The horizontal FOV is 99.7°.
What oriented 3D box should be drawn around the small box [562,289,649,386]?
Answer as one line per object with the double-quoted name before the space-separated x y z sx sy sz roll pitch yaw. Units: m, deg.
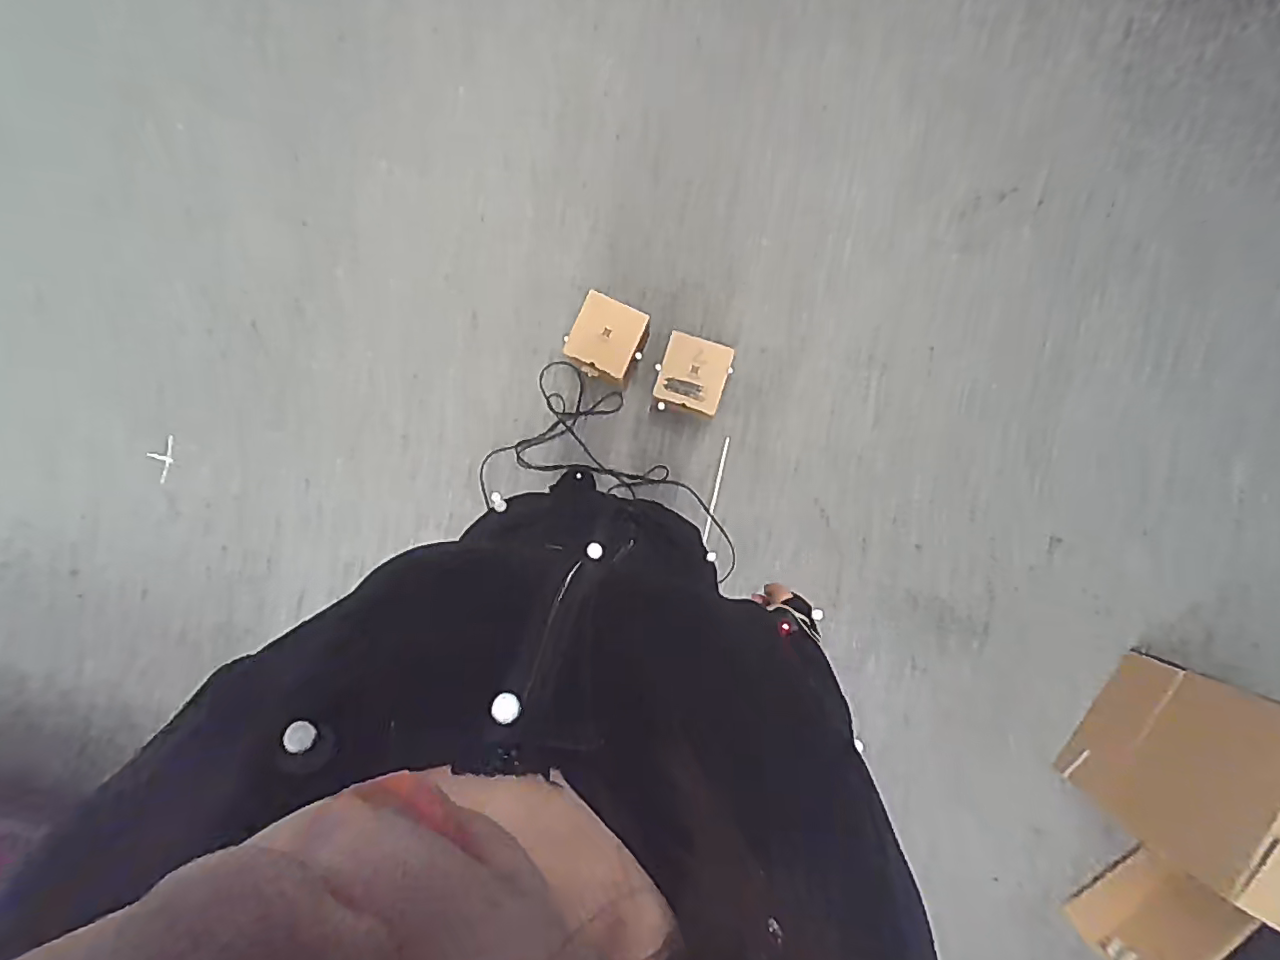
"small box" -0.087 -0.366 1.422 0.168 0.176 0.179 25 93 0
